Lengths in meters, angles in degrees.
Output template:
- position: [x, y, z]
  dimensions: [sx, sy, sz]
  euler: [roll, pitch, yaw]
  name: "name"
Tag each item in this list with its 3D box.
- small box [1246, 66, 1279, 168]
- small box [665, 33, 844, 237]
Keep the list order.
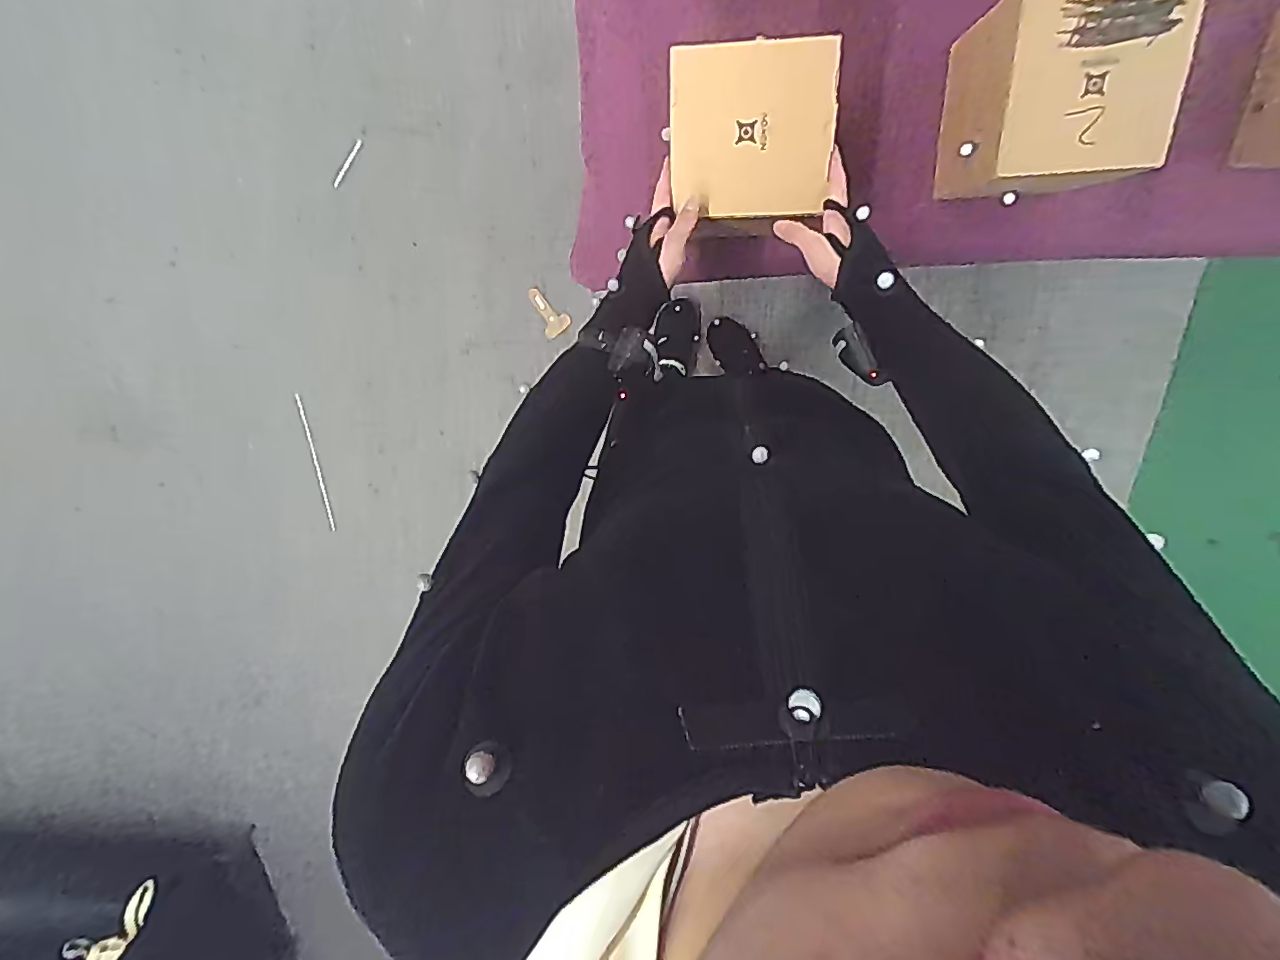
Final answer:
- position: [0.820, -0.433, 0.563]
  dimensions: [0.179, 0.176, 0.168]
  euler: [2, 110, 6]
  name: "small box"
- position: [0.125, -0.388, 0.640]
  dimensions: [0.179, 0.176, 0.168]
  euler: [2, 107, 7]
  name: "small box"
